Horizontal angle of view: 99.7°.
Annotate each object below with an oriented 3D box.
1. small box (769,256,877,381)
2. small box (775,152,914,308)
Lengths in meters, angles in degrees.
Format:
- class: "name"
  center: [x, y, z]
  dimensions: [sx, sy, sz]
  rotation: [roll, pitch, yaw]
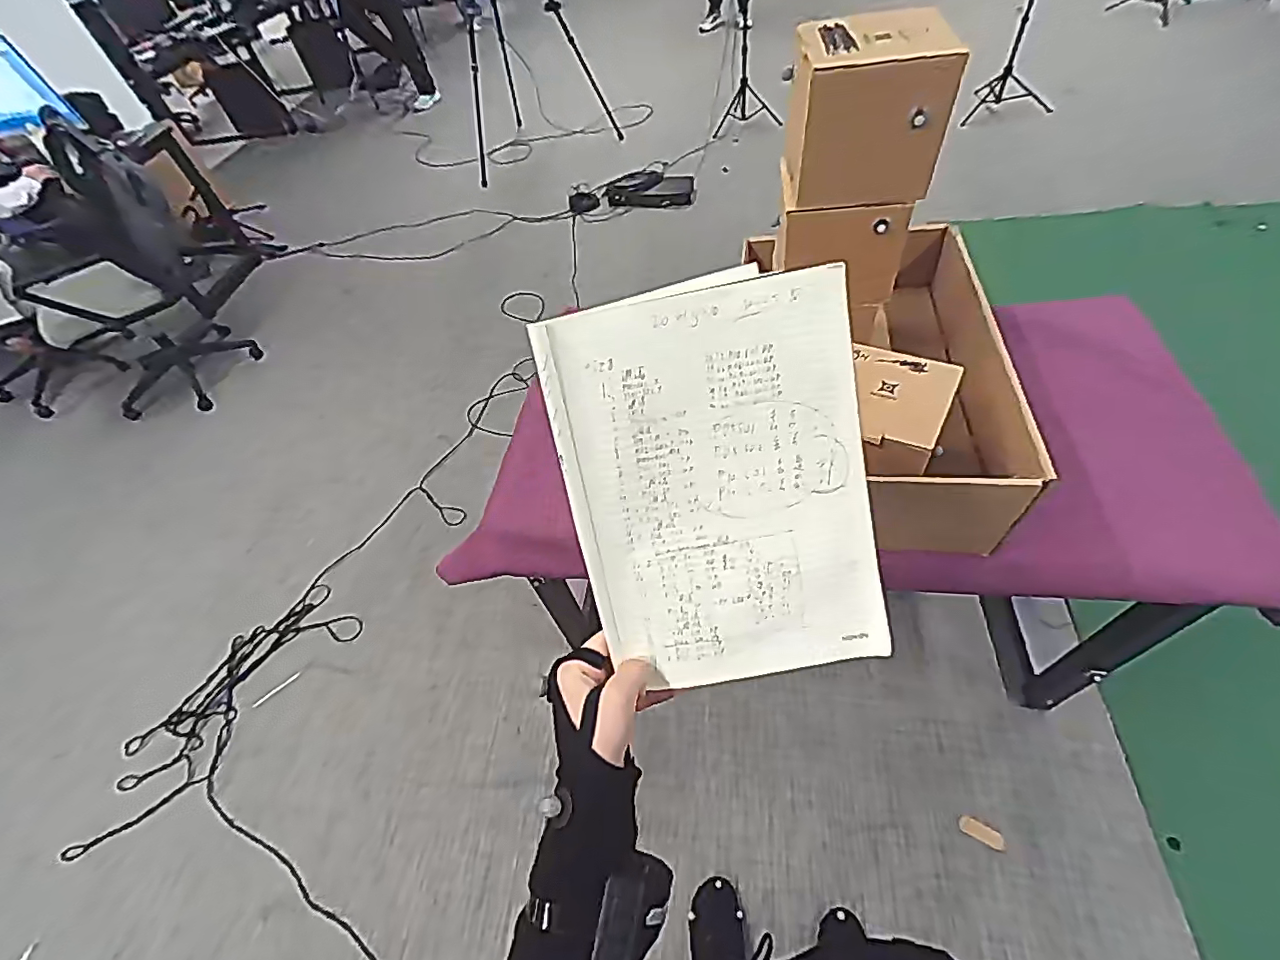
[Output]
- class: "small box"
  center: [0.327, -0.297, 0.992]
  dimensions: [0.168, 0.176, 0.179]
  rotation: [2, 55, 11]
- class: "small box"
  center: [0.309, -0.391, 0.861]
  dimensions: [0.179, 0.176, 0.168]
  rotation: [0, 54, 10]
